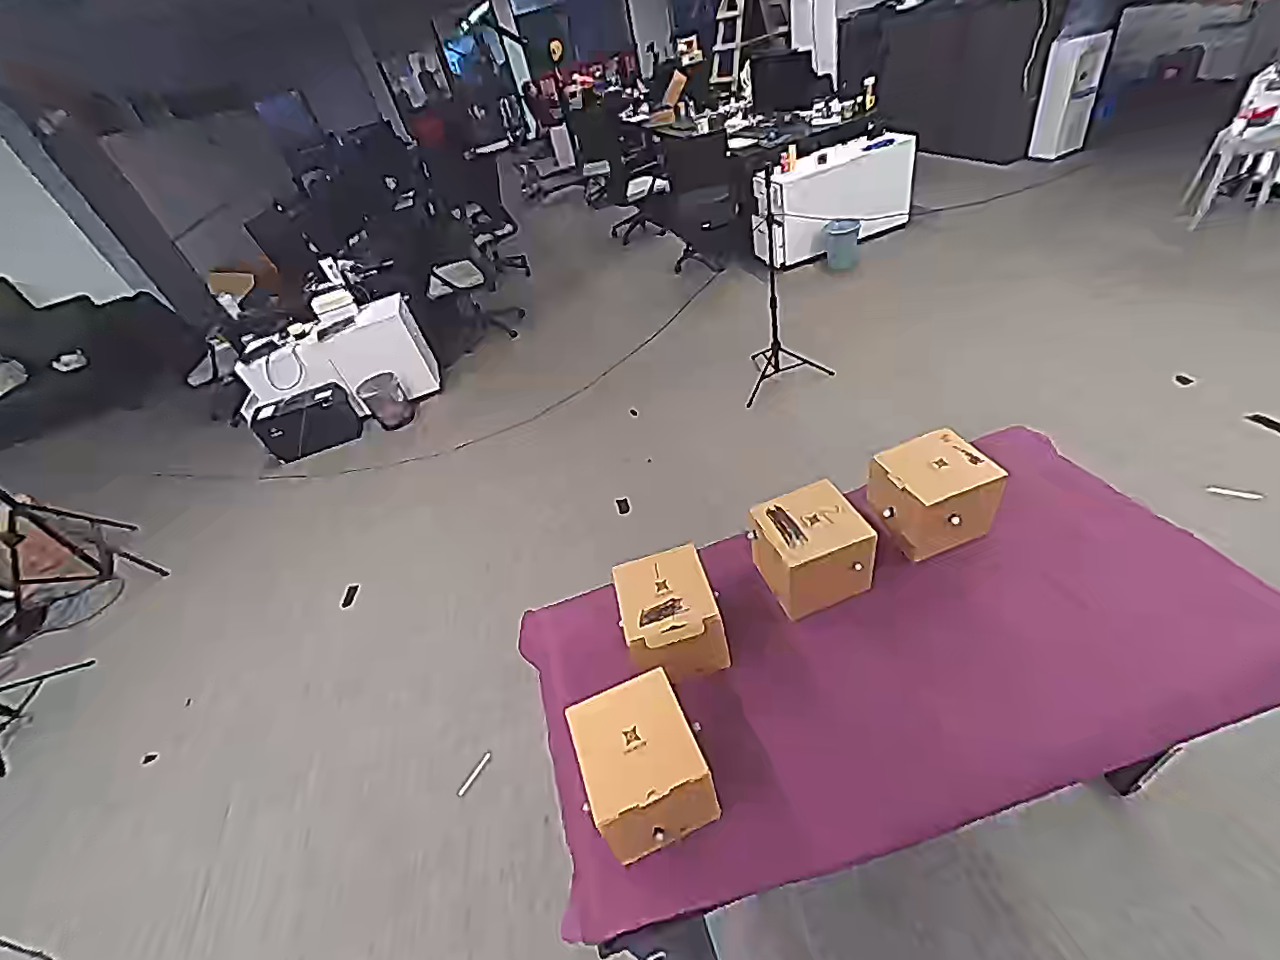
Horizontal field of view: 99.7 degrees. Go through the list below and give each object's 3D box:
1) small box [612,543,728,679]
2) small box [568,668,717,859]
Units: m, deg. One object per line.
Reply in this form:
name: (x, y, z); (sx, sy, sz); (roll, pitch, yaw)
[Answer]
small box: (0.057, 0.254, 1.012); (0.168, 0.176, 0.179); (-16, 40, -1)
small box: (0.005, 0.431, 0.826); (0.168, 0.176, 0.179); (-22, 41, -9)
